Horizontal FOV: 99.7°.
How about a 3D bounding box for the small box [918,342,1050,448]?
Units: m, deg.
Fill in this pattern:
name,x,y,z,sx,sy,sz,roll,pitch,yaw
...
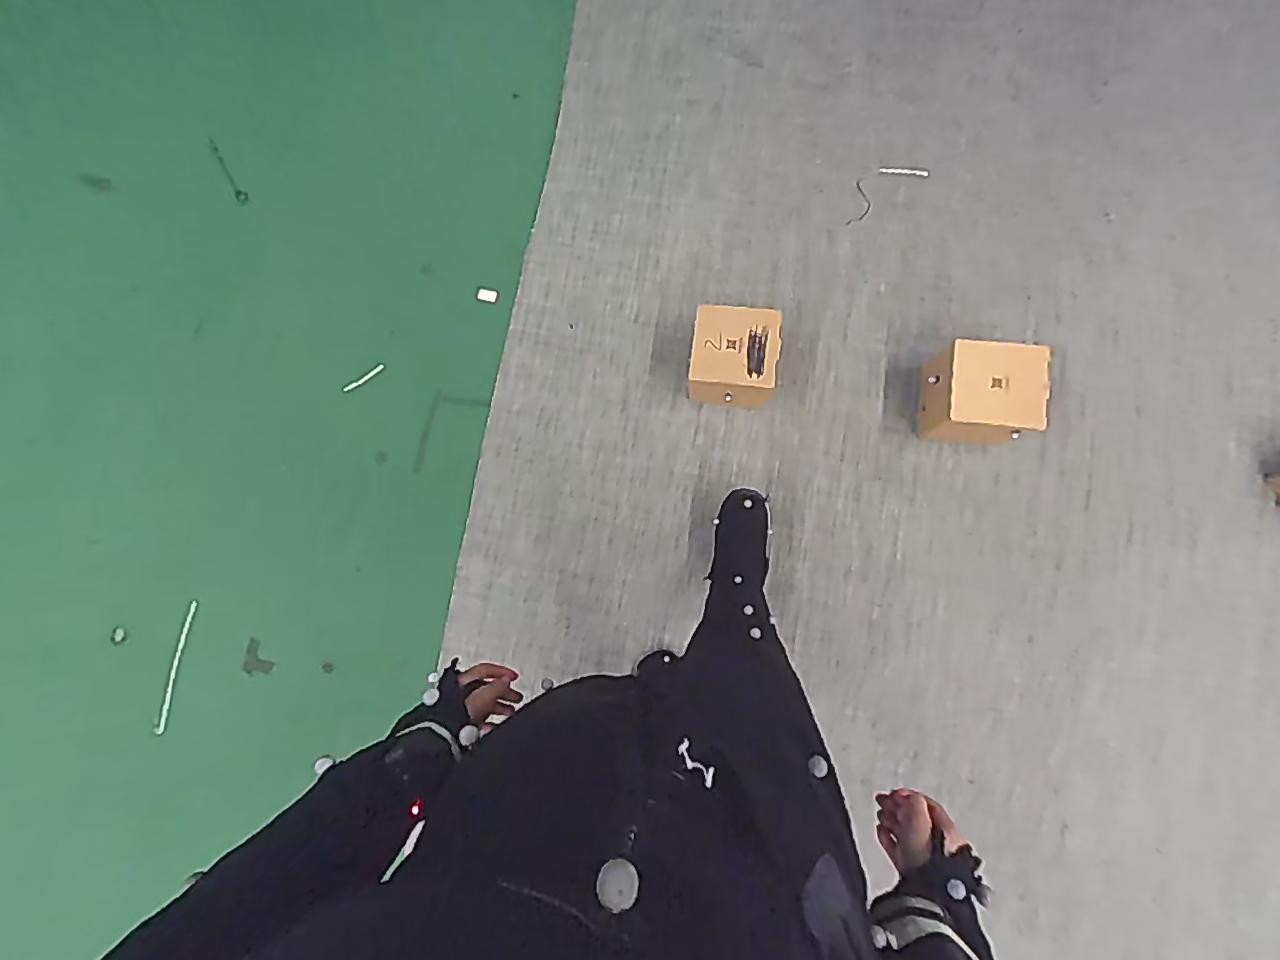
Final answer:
name,x,y,z,sx,sy,sz,roll,pitch,yaw
small box,0.690,-0.167,1.101,0.179,0.176,0.168,7,83,6
